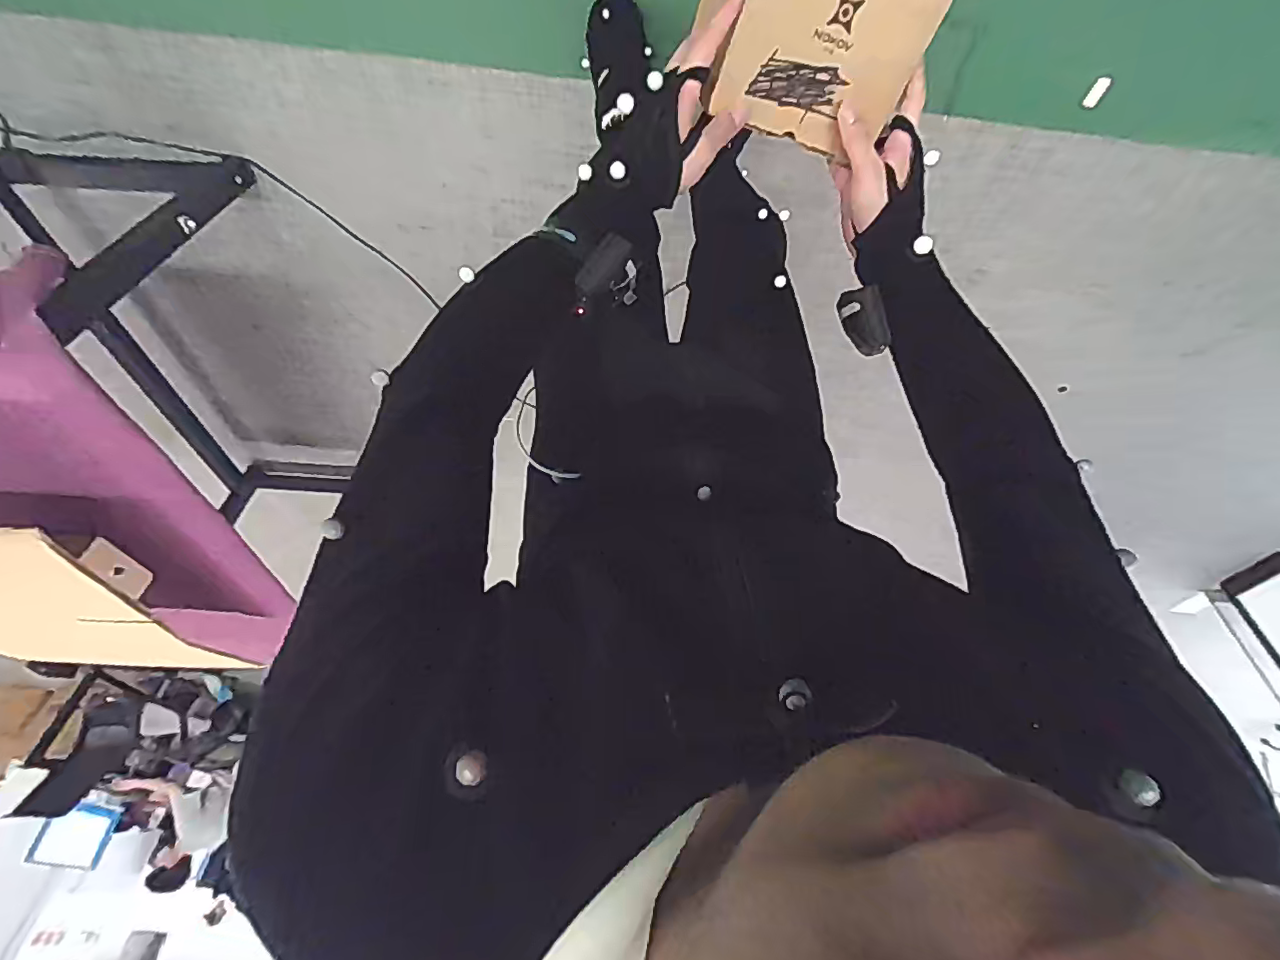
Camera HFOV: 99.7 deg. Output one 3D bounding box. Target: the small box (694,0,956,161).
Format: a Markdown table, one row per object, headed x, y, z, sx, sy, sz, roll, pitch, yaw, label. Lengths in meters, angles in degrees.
| x | y | z | sx | sy | sz | roll | pitch | yaw | label |
| --- | --- | --- | --- | --- | --- | --- | --- | --- | --- |
| 0.156 | -0.430 | 0.487 | 0.168 | 0.176 | 0.179 | 8 | 136 | -16 | small box |
